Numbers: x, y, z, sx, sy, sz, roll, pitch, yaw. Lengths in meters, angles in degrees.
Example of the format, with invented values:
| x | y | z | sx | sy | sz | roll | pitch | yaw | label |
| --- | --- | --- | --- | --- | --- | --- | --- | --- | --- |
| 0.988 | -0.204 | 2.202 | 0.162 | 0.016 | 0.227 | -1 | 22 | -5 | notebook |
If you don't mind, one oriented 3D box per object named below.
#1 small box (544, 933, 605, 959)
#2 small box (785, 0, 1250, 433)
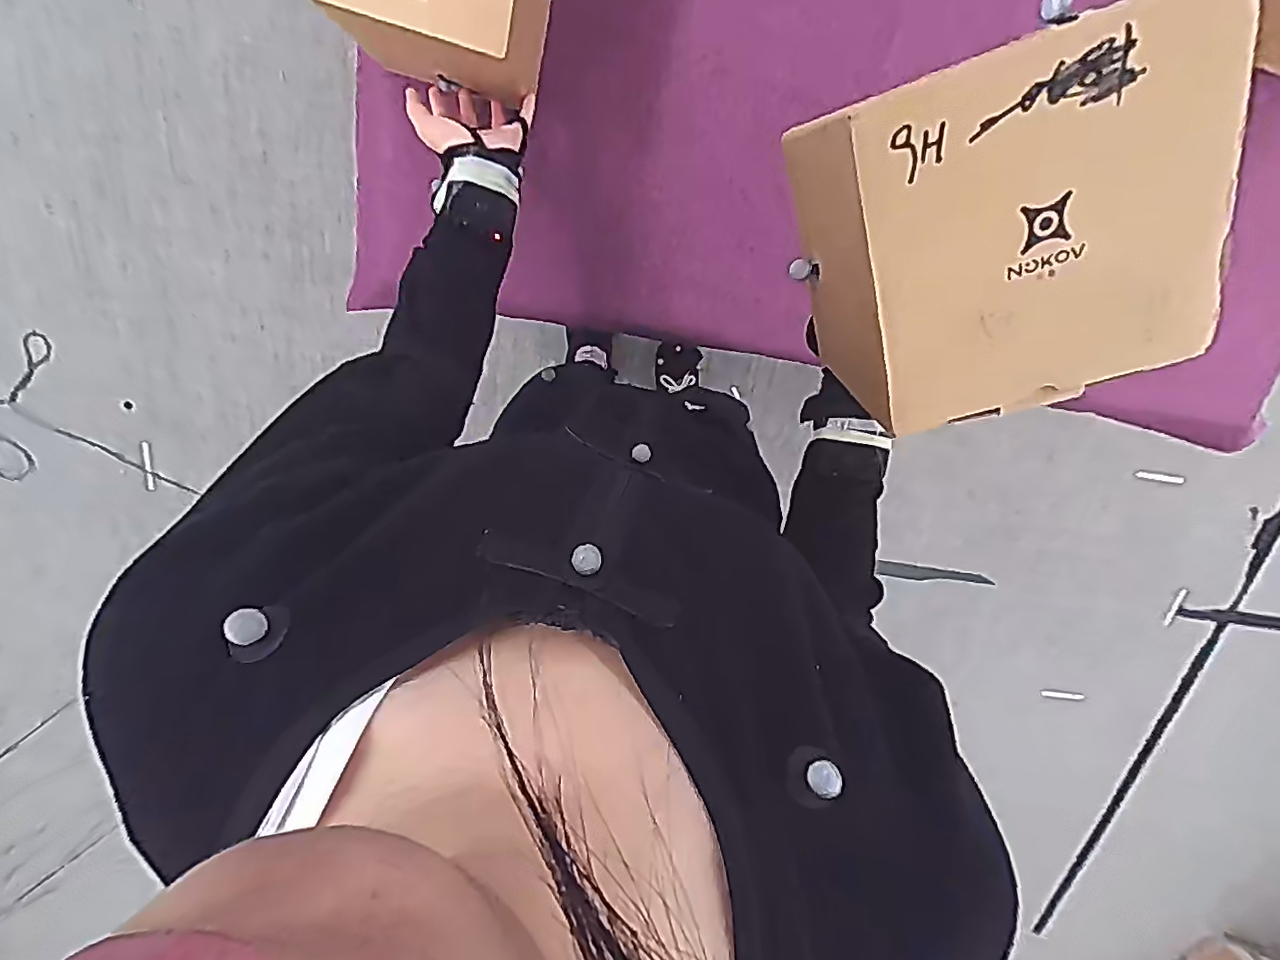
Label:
| x | y | z | sx | sy | sz | roll | pitch | yaw | label |
| --- | --- | --- | --- | --- | --- | --- | --- | --- | --- |
| -0.212 | 1.571 | 1.696 | 0.179 | 0.176 | 0.168 | 16 | 108 | -7 | small box |
| 0.202 | -0.159 | 0.346 | 0.168 | 0.176 | 0.179 | -16 | 118 | 10 | small box |
